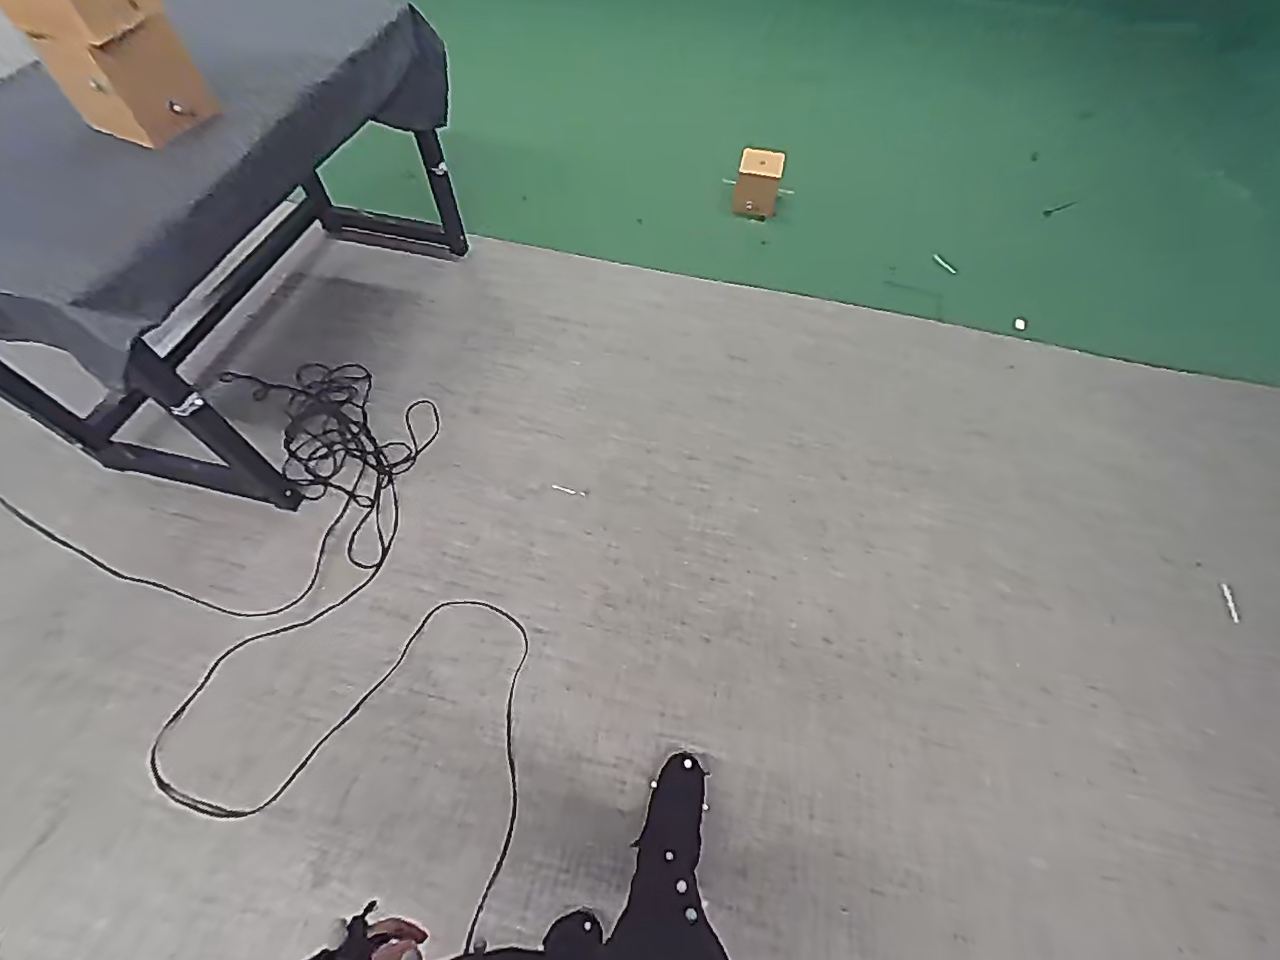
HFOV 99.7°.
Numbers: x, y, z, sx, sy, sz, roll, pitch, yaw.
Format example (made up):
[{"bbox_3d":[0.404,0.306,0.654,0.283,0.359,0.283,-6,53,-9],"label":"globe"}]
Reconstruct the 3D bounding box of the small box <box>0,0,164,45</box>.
[{"bbox_3d":[-0.952,-0.849,0.881,0.179,0.176,0.168,15,60,7],"label":"small box"}]

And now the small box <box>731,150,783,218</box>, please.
[{"bbox_3d":[0.471,-1.201,2.194,0.168,0.176,0.179,12,60,6],"label":"small box"}]
